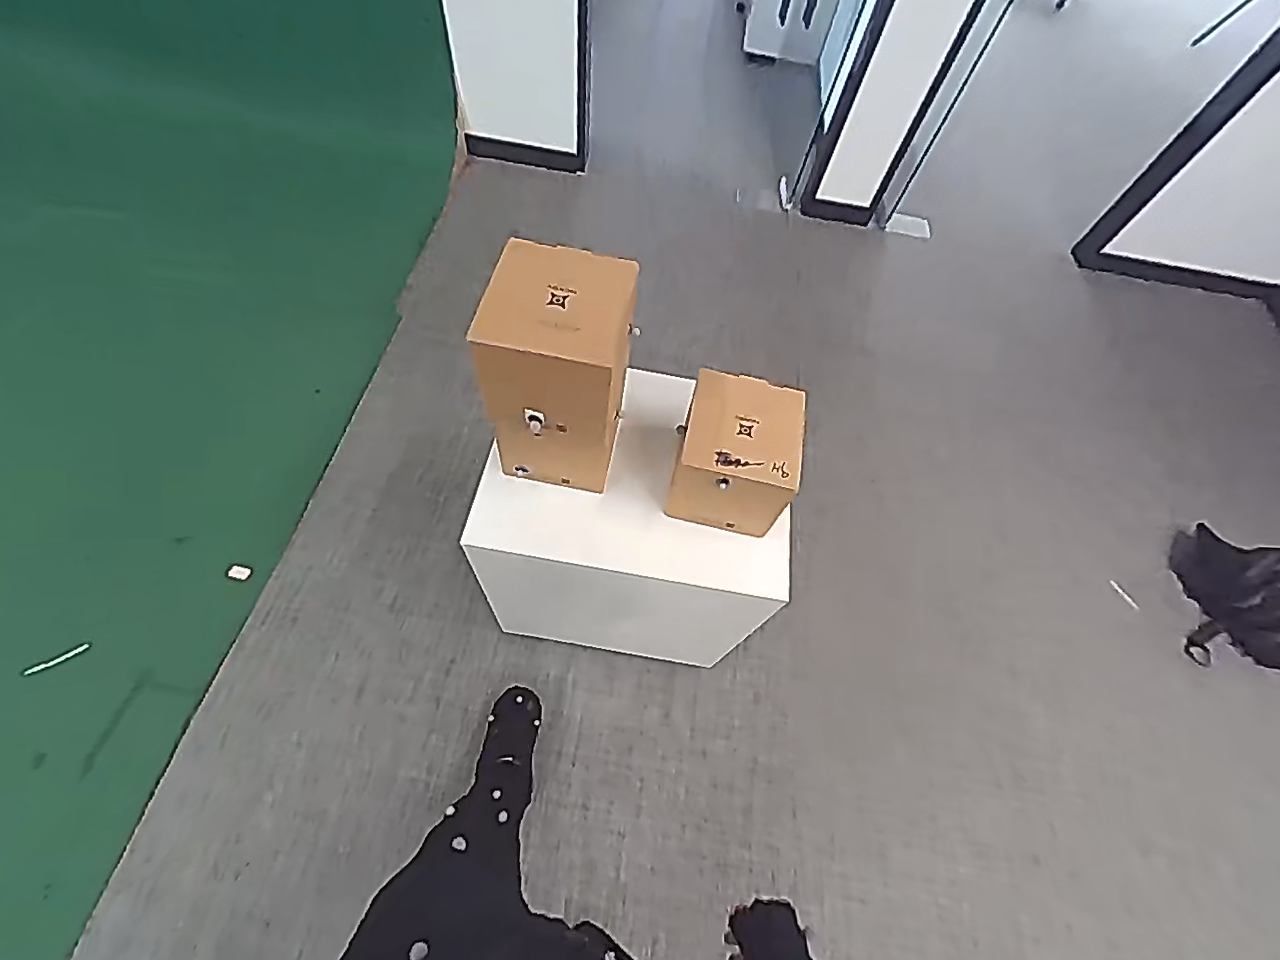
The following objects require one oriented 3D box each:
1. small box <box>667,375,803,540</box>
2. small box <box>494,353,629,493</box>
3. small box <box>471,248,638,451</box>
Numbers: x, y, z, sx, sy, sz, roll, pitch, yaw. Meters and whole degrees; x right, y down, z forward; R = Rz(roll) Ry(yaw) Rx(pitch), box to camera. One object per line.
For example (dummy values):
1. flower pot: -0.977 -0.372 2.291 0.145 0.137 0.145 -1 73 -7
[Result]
1. small box: 0.143 -0.030 0.845 0.168 0.176 0.179 13 60 2
2. small box: -0.117 -0.099 0.854 0.168 0.176 0.179 11 60 -1
3. small box: -0.103 -0.163 0.706 0.168 0.176 0.179 10 62 0
